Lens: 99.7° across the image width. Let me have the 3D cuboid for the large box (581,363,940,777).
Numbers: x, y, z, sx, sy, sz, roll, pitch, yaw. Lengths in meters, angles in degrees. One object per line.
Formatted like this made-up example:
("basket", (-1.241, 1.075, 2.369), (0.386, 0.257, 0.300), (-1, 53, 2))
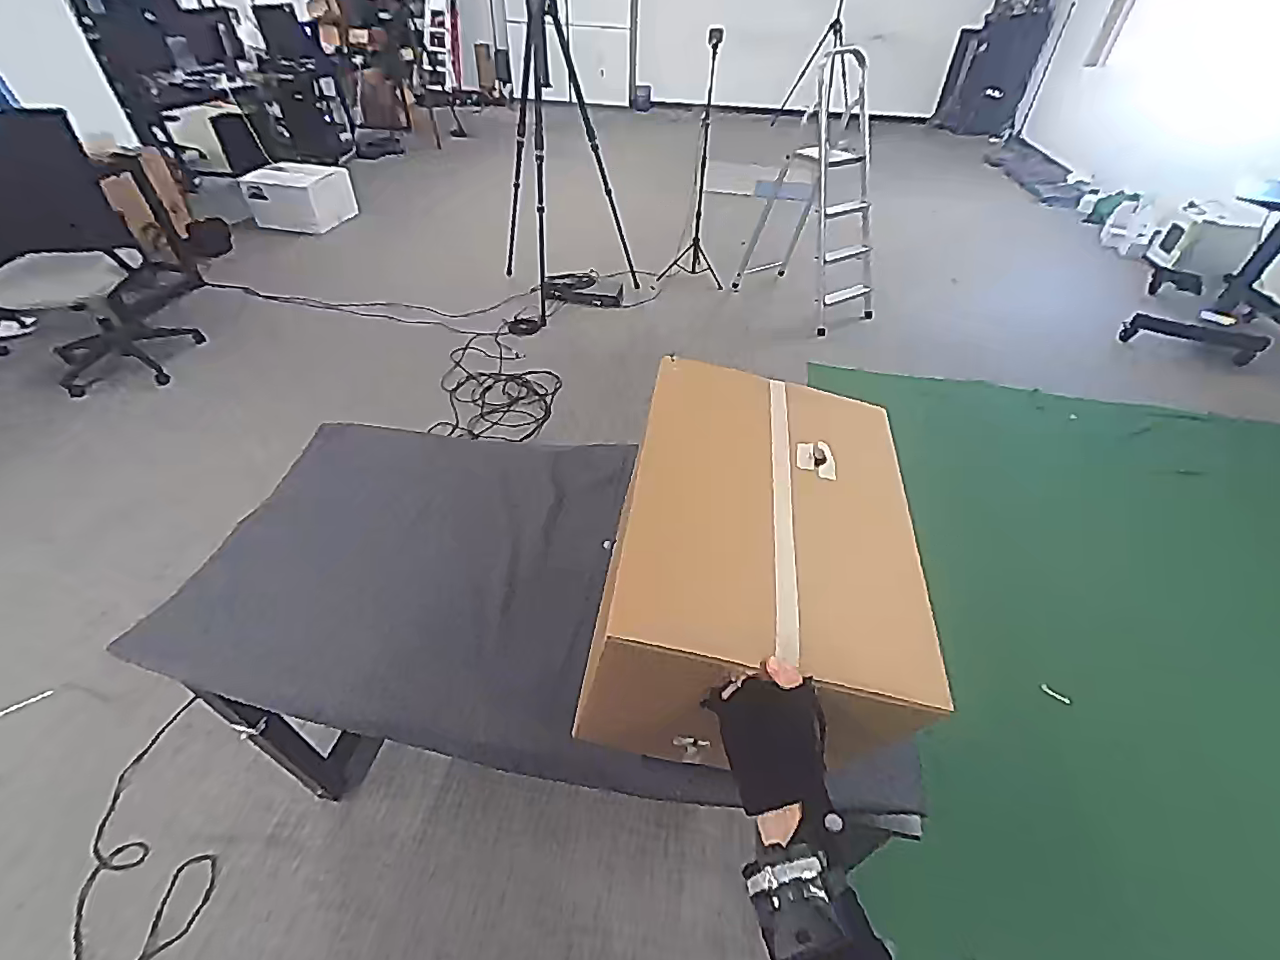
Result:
("large box", (0.118, 0.114, 0.710), (0.320, 0.320, 0.408), (13, 48, -2))
